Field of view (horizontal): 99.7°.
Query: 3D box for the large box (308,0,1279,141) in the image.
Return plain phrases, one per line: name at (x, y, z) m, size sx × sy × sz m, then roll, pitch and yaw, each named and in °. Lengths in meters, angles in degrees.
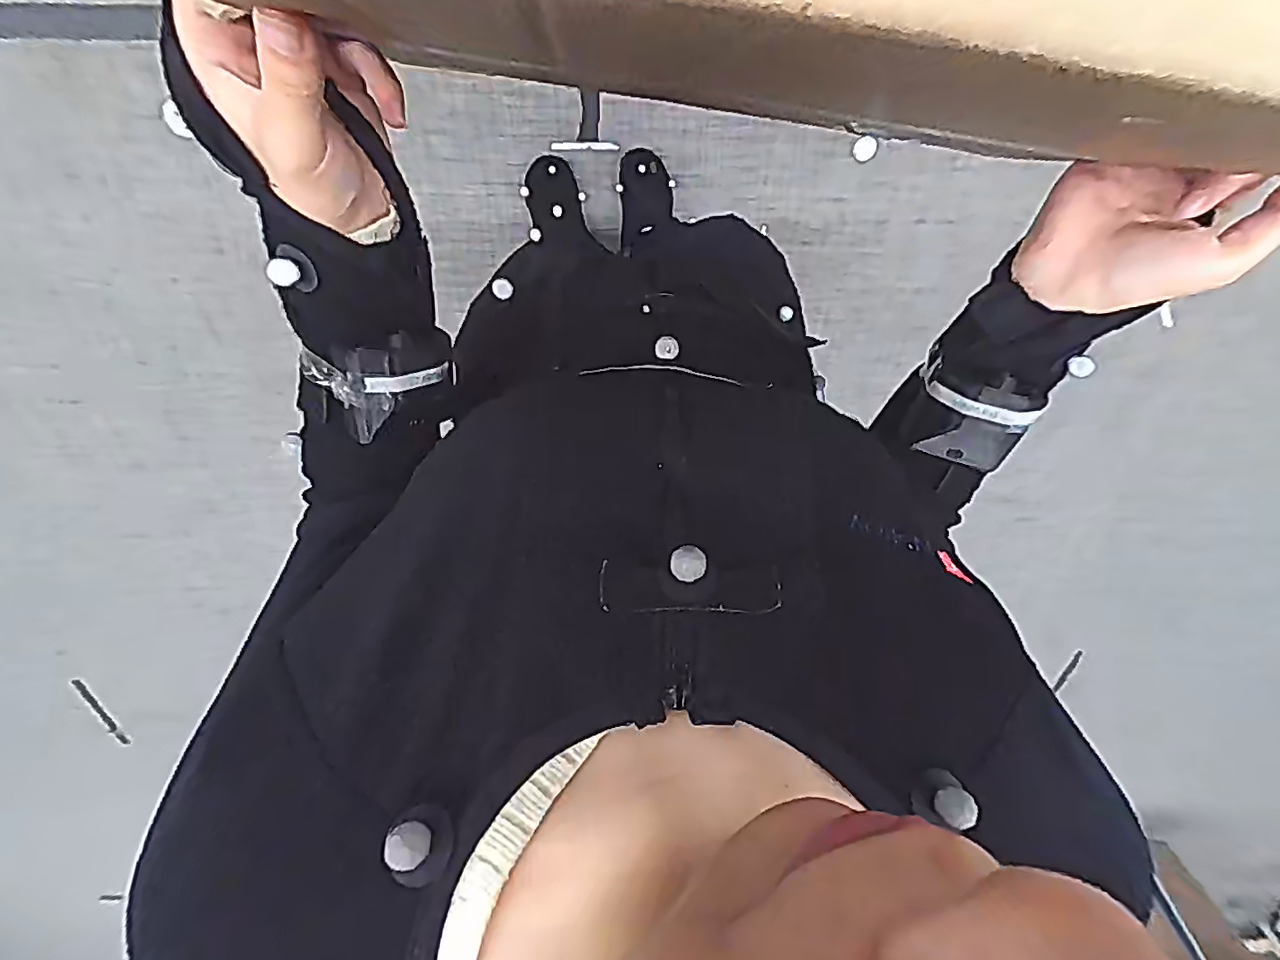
large box at (0.079, -0.304, 0.147) m, size 0.408 × 0.320 × 0.320 m, roll 3°, pitch 124°, yaw -8°
